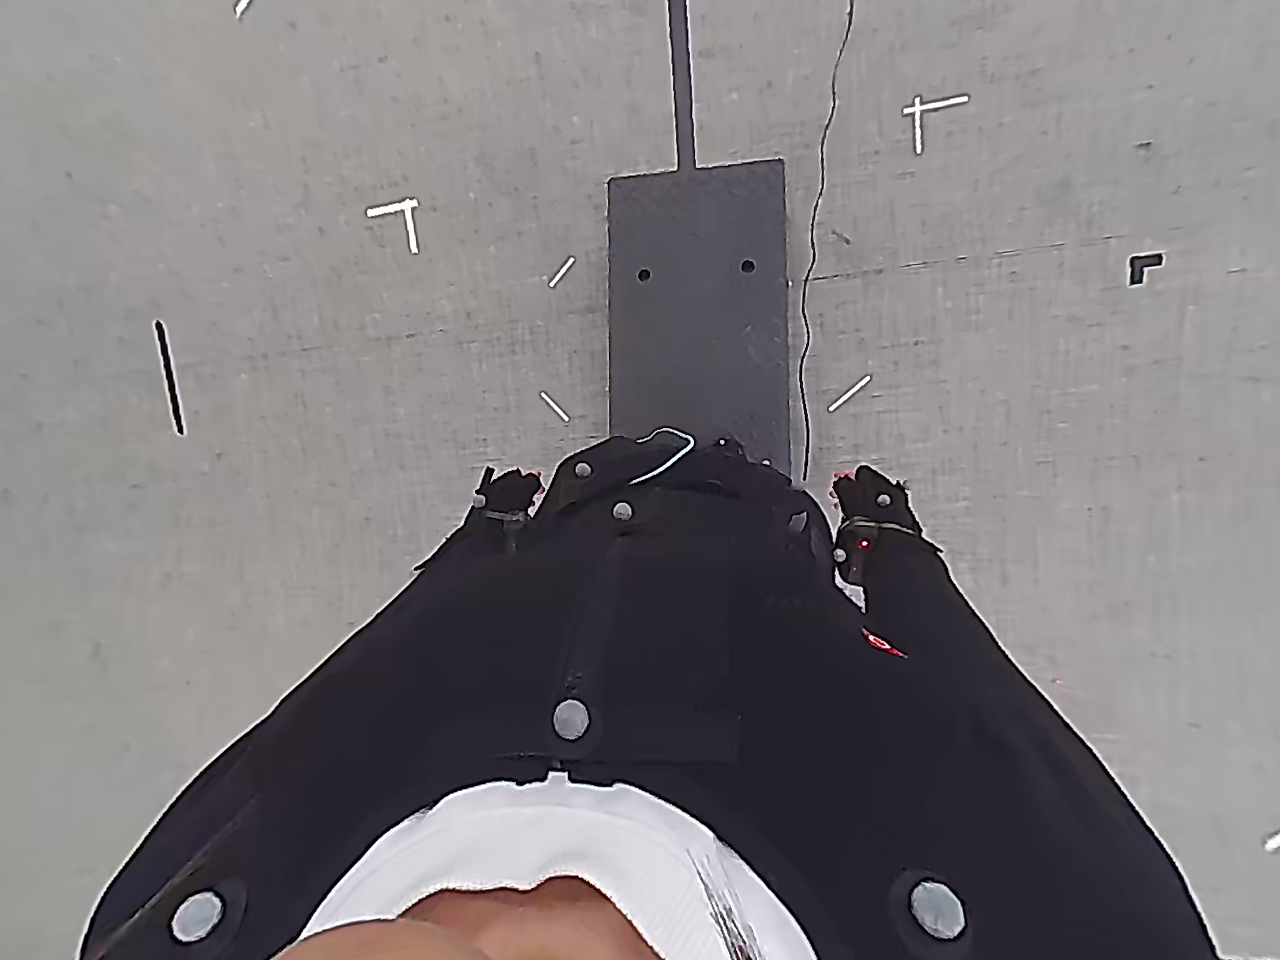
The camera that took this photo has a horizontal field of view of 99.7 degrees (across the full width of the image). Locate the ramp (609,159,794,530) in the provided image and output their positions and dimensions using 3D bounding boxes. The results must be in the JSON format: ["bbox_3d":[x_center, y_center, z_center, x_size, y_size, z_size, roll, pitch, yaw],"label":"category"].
[{"bbox_3d":[0.154,-0.365,1.477,0.509,0.206,0.991,-3,96,11],"label":"ramp"}]
